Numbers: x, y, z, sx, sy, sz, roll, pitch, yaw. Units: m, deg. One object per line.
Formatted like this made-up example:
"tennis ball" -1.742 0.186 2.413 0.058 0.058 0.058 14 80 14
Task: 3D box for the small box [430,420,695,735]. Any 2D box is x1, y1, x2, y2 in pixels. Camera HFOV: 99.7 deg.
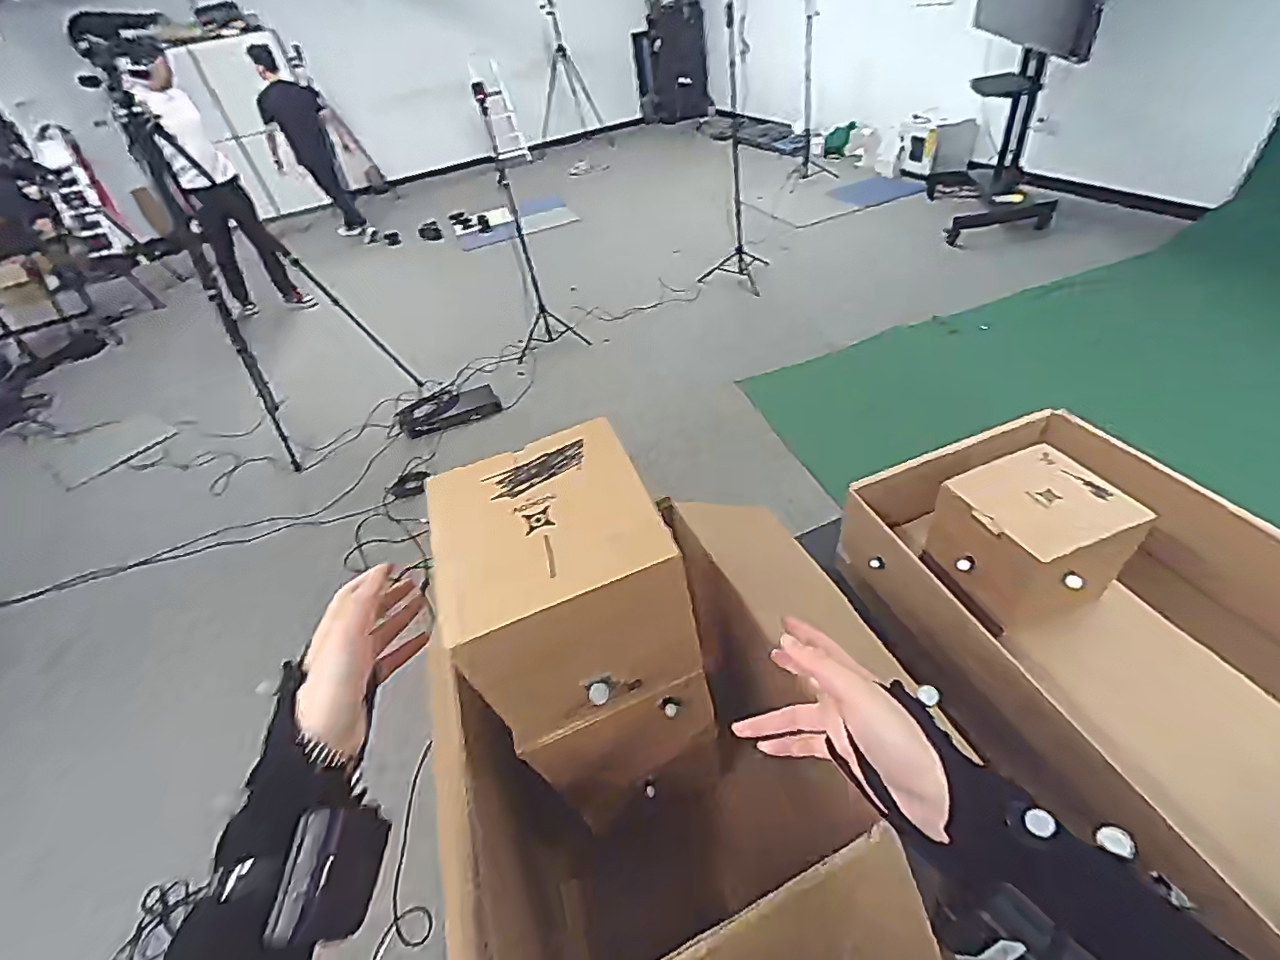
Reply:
"small box" -0.064 0.083 0.468 0.168 0.176 0.179 -21 46 -7
